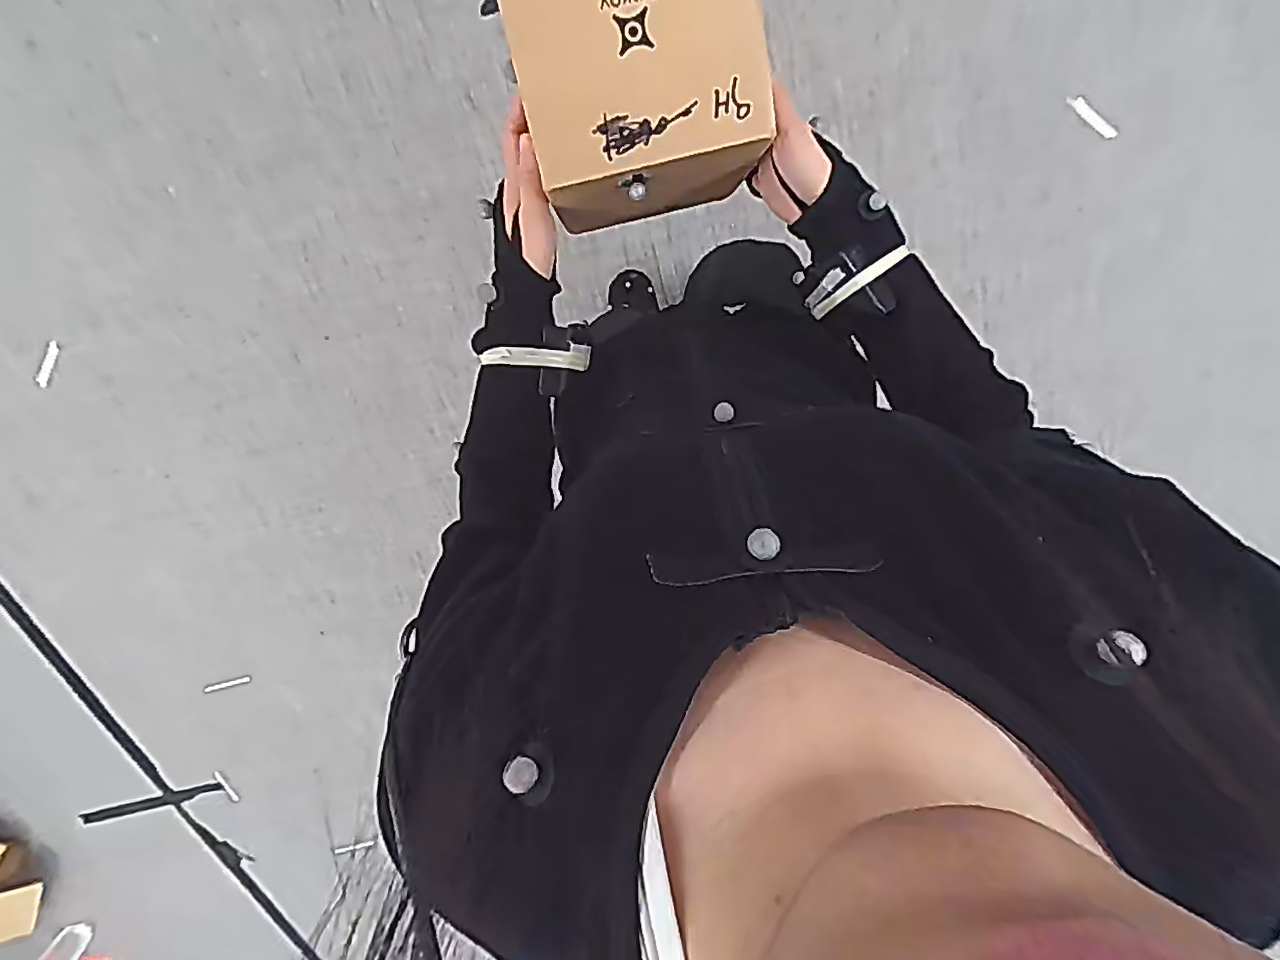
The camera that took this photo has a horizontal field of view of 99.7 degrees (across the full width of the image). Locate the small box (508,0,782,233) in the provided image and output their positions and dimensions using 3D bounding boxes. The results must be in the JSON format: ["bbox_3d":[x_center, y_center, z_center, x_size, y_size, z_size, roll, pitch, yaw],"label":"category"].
[{"bbox_3d":[-0.003,-0.316,0.424,0.168,0.176,0.179,-13,104,2],"label":"small box"}]

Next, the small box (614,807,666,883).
[{"bbox_3d":[-0.005,1.321,1.963,0.179,0.176,0.168,0,110,-5],"label":"small box"}]
